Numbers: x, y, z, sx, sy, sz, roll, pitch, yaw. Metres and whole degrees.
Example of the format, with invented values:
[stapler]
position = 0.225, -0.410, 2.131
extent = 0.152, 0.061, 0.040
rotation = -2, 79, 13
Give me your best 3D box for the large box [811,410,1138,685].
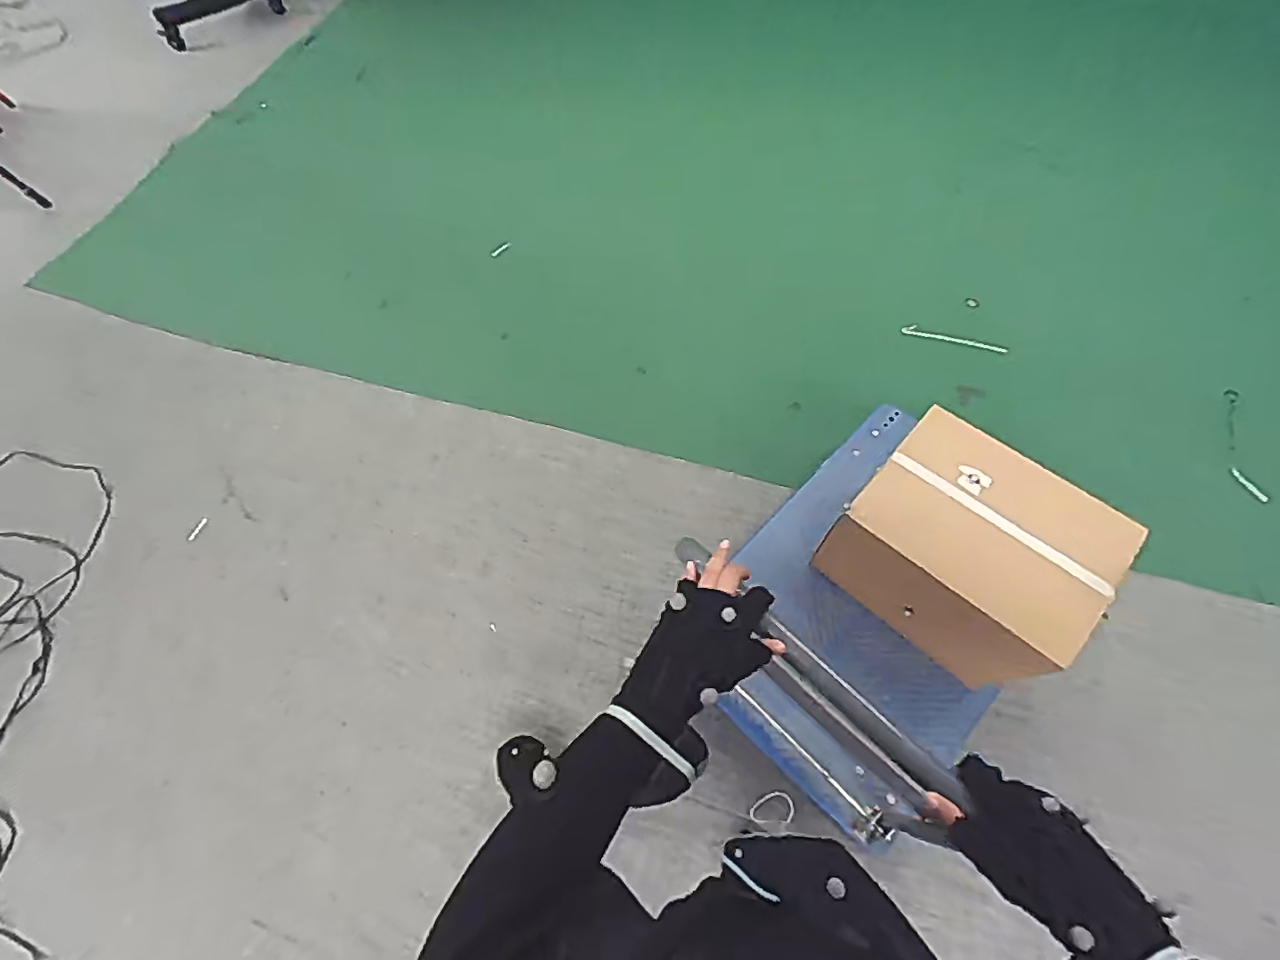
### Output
[large box]
position = 0.619, 0.143, 1.082
extent = 0.408, 0.320, 0.320
rotation = 39, 72, 22
